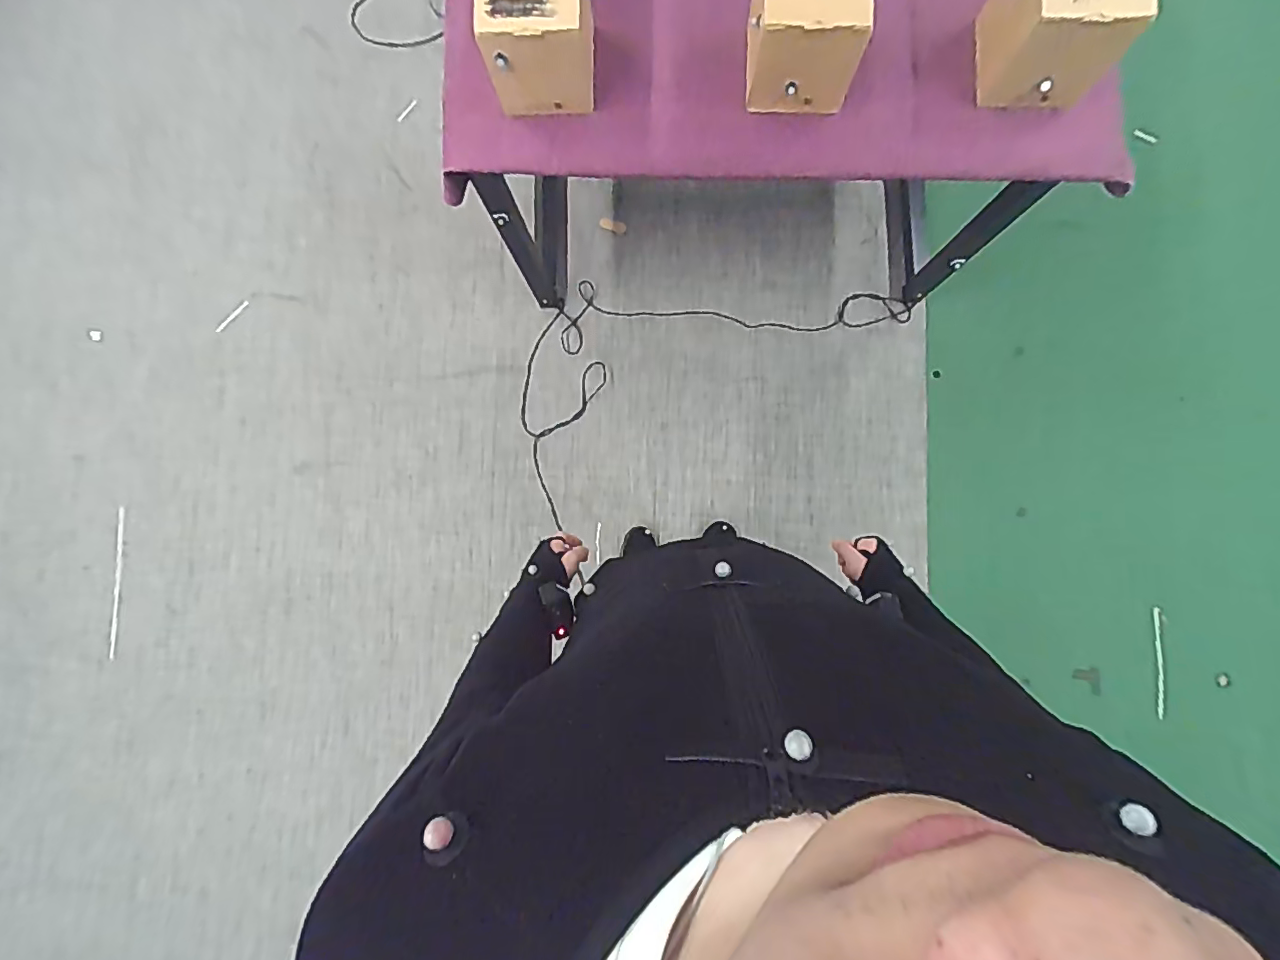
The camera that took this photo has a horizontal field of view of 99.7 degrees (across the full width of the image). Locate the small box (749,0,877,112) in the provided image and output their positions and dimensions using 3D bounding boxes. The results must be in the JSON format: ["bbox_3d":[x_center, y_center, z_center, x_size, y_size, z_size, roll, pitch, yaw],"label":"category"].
[{"bbox_3d":[0.278,-0.758,0.898,0.168,0.176,0.179,2,85,2],"label":"small box"}]

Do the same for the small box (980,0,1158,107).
[{"bbox_3d":[0.681,-0.753,0.878,0.168,0.176,0.179,3,85,3],"label":"small box"}]
